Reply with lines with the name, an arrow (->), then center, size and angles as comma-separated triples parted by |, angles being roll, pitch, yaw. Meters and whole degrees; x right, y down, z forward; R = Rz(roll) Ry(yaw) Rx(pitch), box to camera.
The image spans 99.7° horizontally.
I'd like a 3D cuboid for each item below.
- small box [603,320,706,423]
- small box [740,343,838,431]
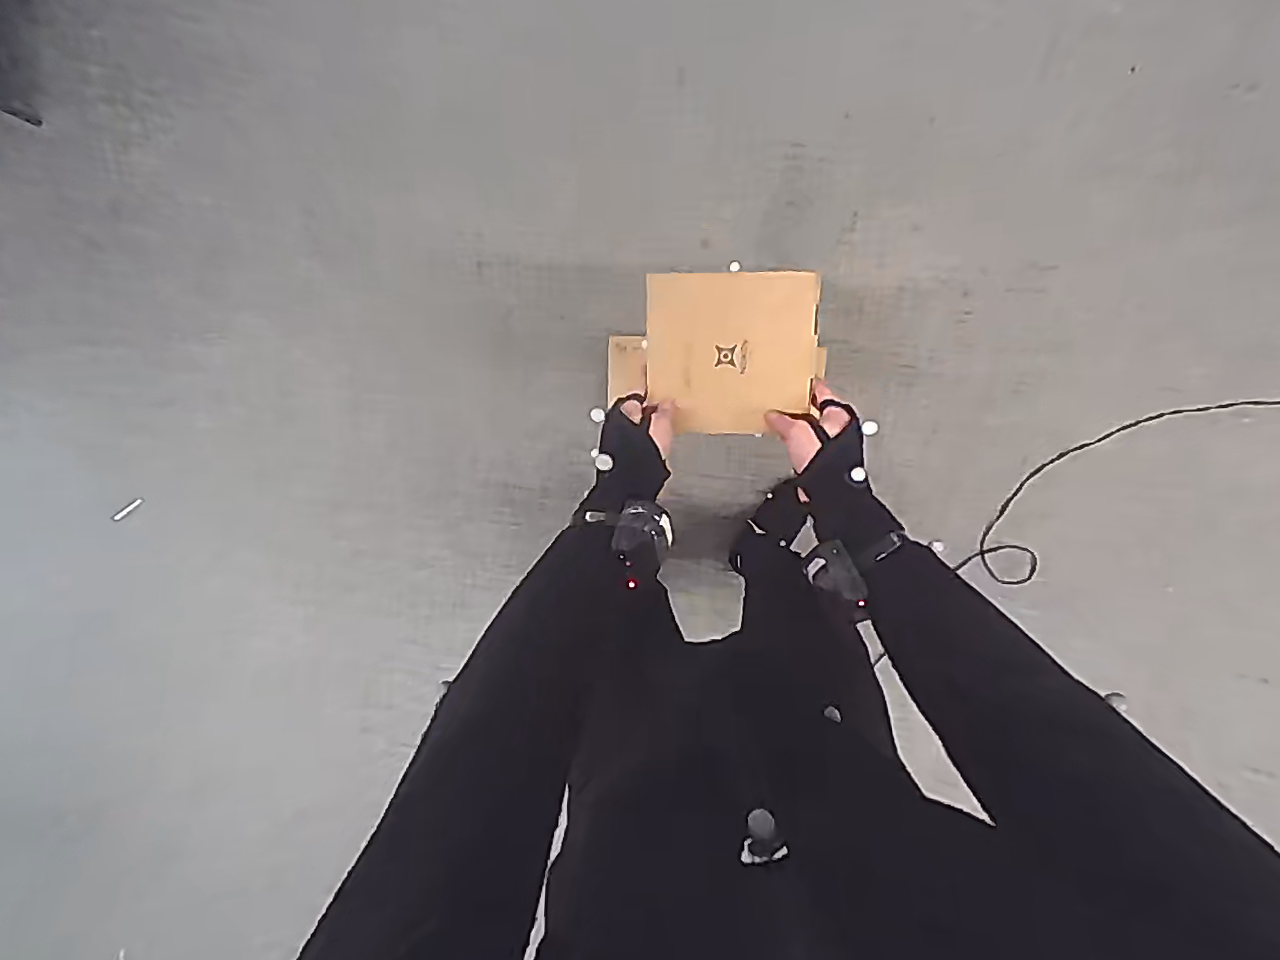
small box -> 0.041, -0.239, 1.248 | 0.179, 0.176, 0.168 | -28, 91, 10
small box -> 0.326, -0.208, 1.224 | 0.179, 0.176, 0.168 | 10, 100, 6
